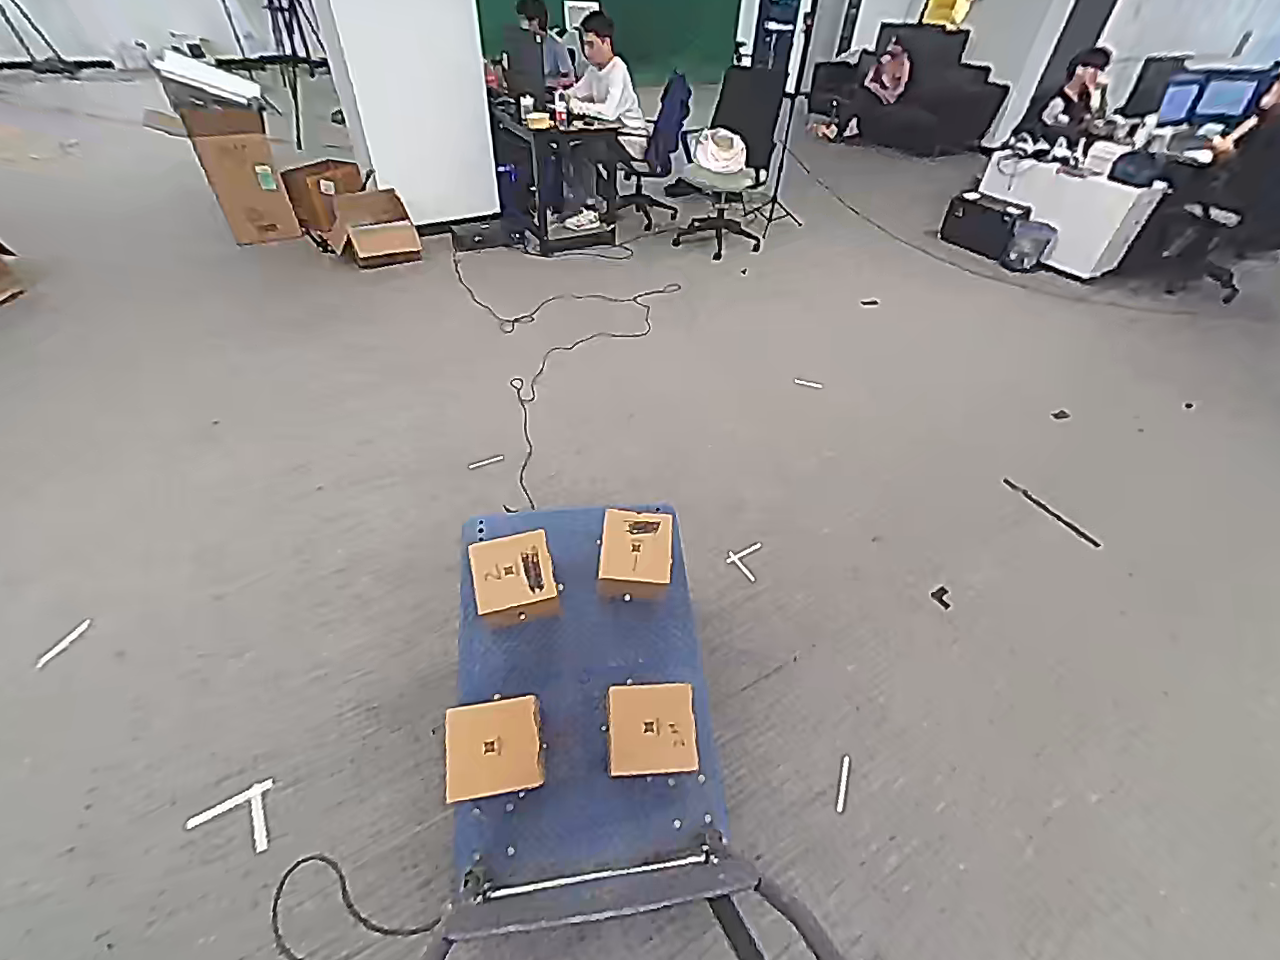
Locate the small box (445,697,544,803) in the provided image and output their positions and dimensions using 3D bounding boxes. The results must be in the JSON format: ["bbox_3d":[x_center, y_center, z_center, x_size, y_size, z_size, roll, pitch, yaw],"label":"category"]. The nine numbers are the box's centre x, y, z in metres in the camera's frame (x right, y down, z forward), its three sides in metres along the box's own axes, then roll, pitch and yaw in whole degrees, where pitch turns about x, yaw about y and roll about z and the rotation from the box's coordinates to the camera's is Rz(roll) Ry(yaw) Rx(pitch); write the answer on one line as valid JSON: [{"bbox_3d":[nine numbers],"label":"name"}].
[{"bbox_3d":[-0.297,0.558,1.117,0.179,0.176,0.168,-6,63,-11],"label":"small box"}]

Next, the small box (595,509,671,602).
[{"bbox_3d":[-0.020,0.191,1.341,0.168,0.176,0.179,6,63,-4],"label":"small box"}]

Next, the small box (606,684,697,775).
[{"bbox_3d":[0.017,0.539,1.164,0.179,0.176,0.168,0,63,-7],"label":"small box"}]
